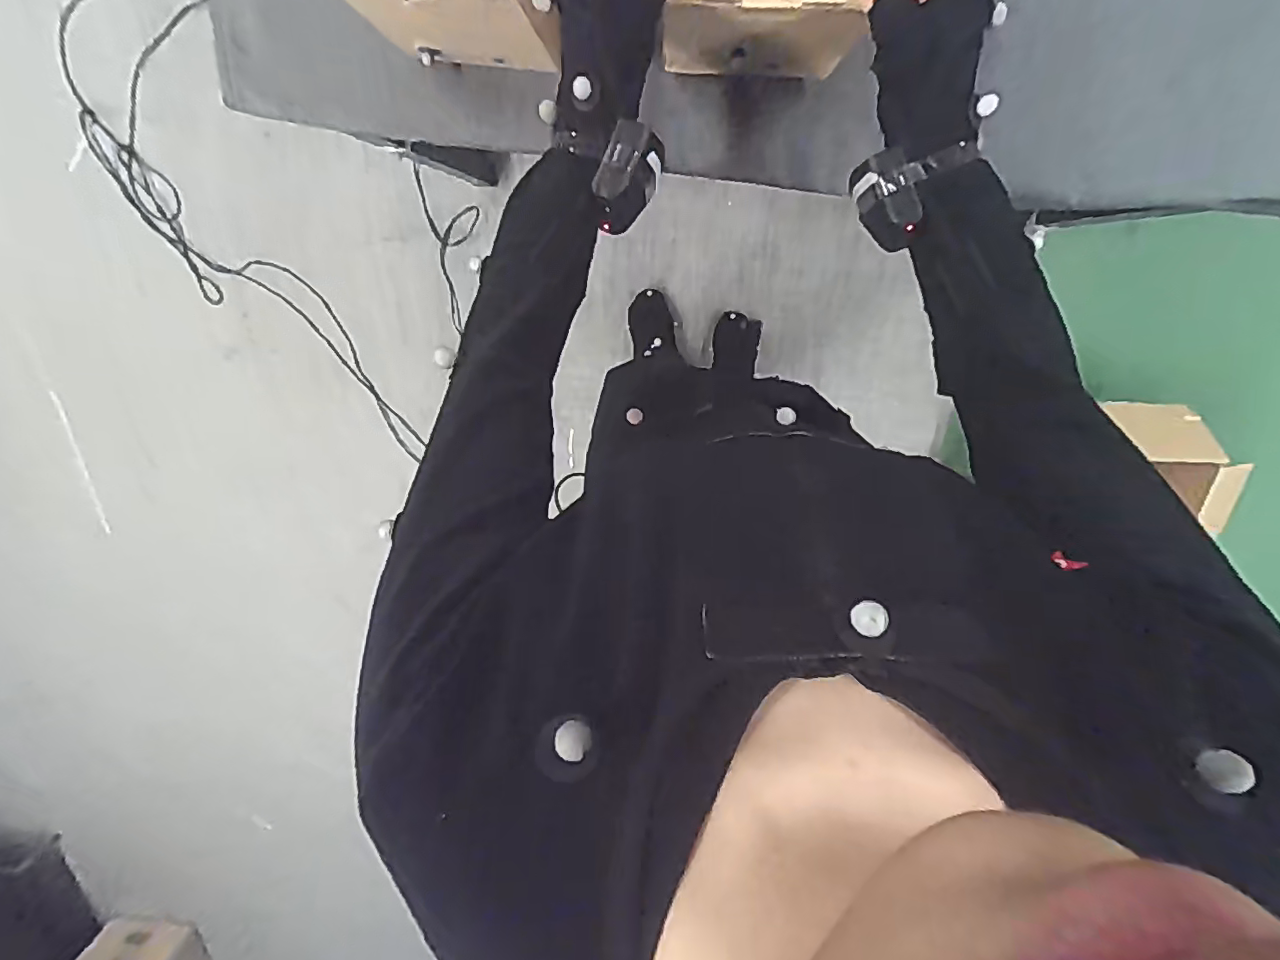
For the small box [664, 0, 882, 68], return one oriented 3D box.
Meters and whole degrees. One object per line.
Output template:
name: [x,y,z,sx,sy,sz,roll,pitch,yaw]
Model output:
small box: [0.106,-0.468,0.438,0.168,0.176,0.179,3,115,2]
